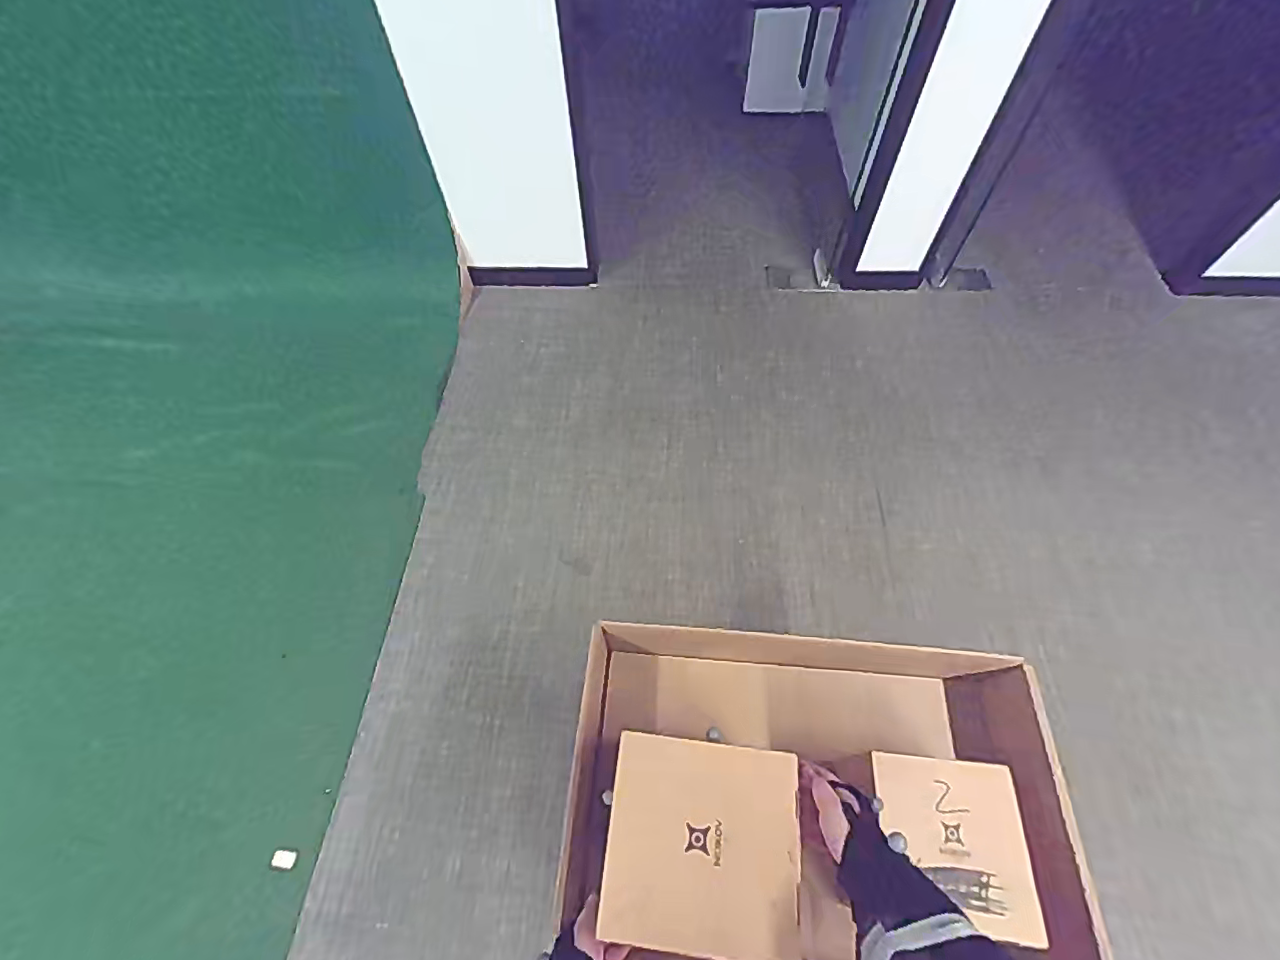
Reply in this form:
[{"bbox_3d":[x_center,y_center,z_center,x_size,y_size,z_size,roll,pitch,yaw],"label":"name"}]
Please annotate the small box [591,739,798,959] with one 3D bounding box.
[{"bbox_3d":[0.056,0.376,0.555,0.179,0.176,0.168,6,59,5],"label":"small box"}]
